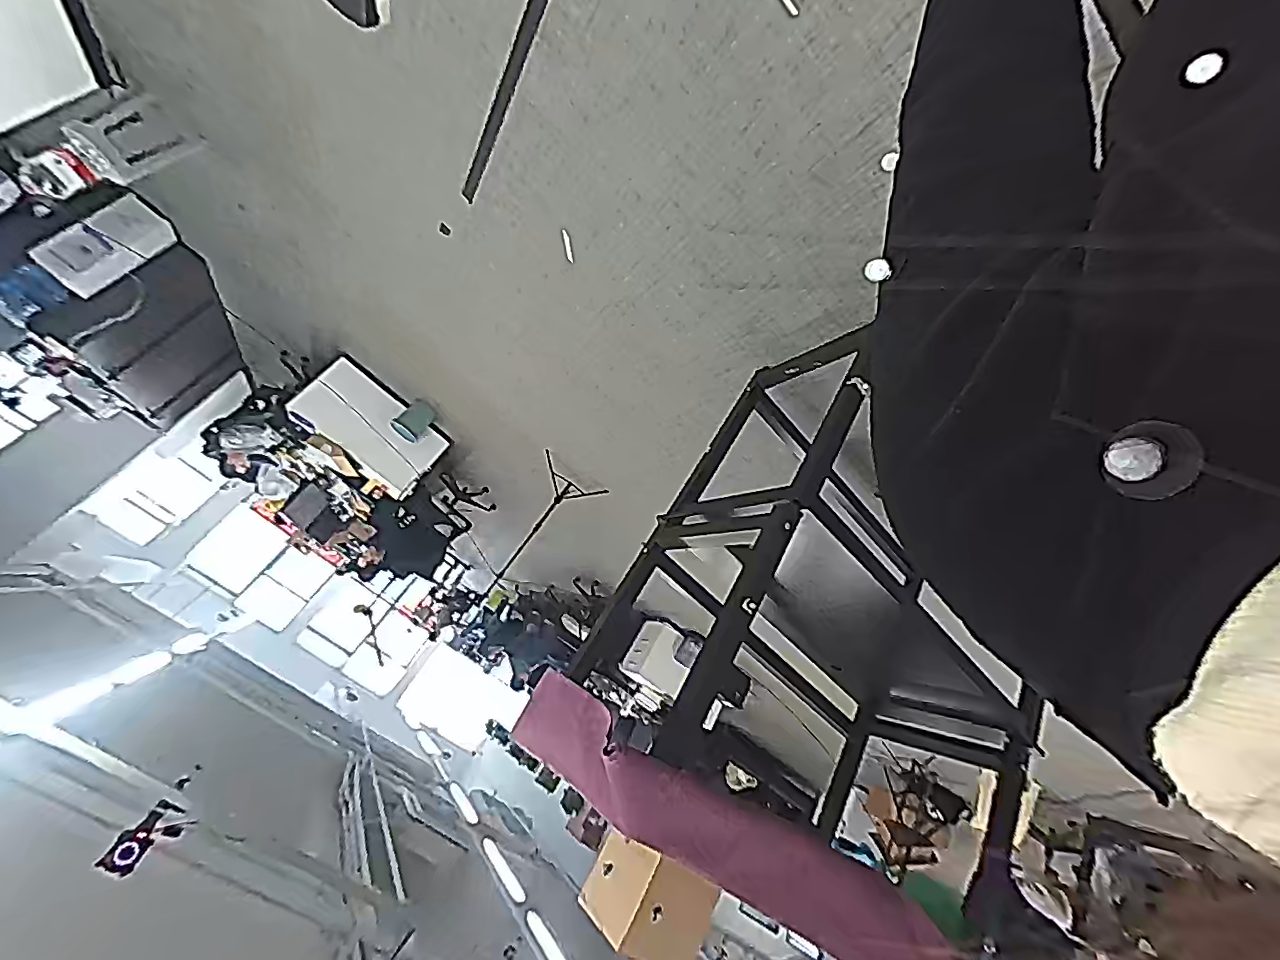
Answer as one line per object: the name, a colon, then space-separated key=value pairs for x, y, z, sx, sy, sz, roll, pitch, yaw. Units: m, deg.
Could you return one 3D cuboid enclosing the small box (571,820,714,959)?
small box: x=0.007 y=0.797 z=1.040 sx=0.179 sy=0.176 sz=0.168 roll=43 pitch=154 yaw=-21
